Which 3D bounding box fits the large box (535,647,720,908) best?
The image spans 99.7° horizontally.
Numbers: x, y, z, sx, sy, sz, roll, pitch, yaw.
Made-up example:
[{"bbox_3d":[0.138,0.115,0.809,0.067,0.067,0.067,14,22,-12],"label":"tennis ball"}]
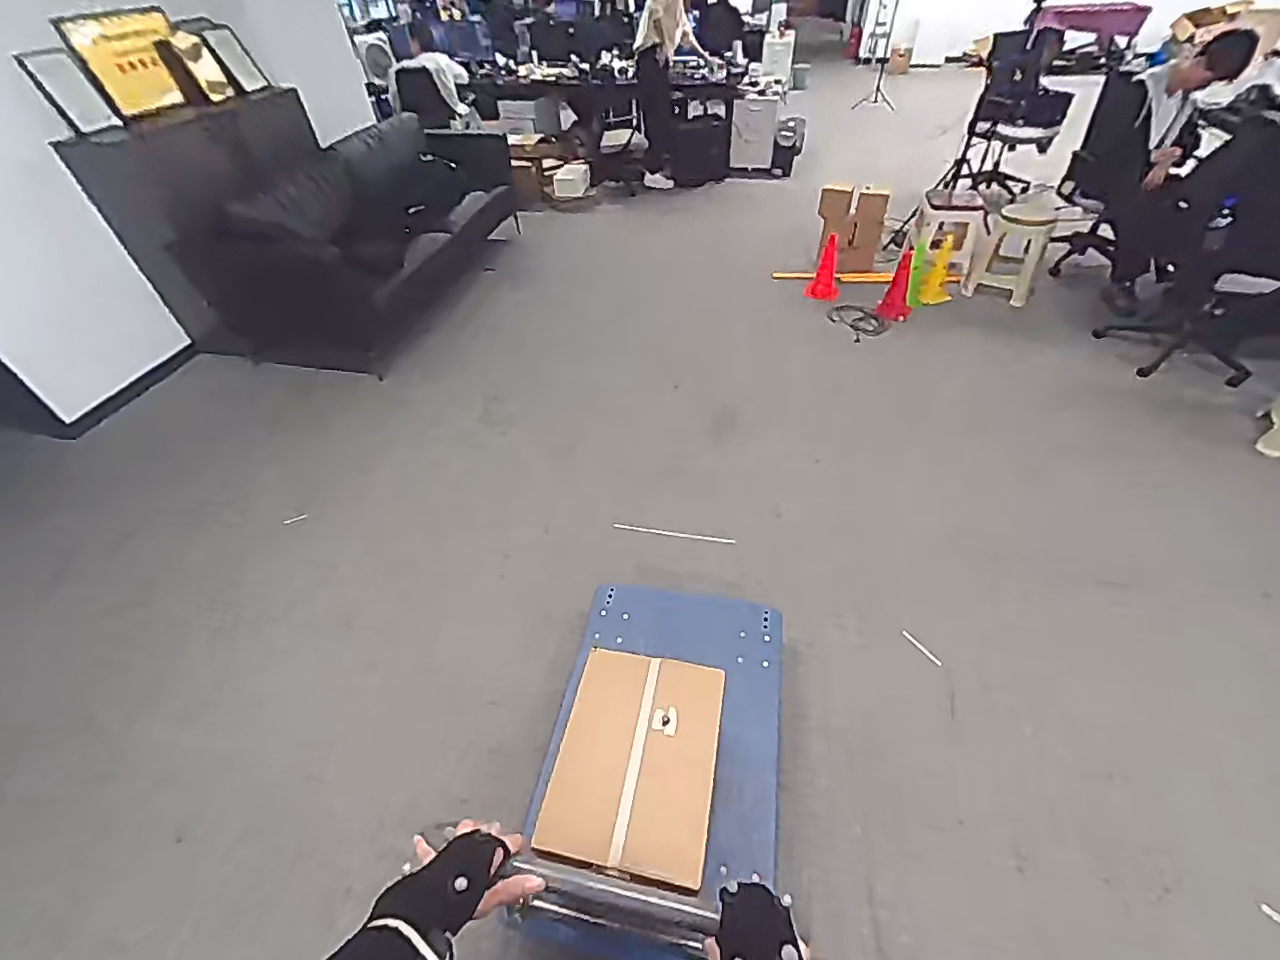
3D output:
[{"bbox_3d":[0.000,0.646,1.196,0.320,0.320,0.408,7,44,10],"label":"large box"}]
